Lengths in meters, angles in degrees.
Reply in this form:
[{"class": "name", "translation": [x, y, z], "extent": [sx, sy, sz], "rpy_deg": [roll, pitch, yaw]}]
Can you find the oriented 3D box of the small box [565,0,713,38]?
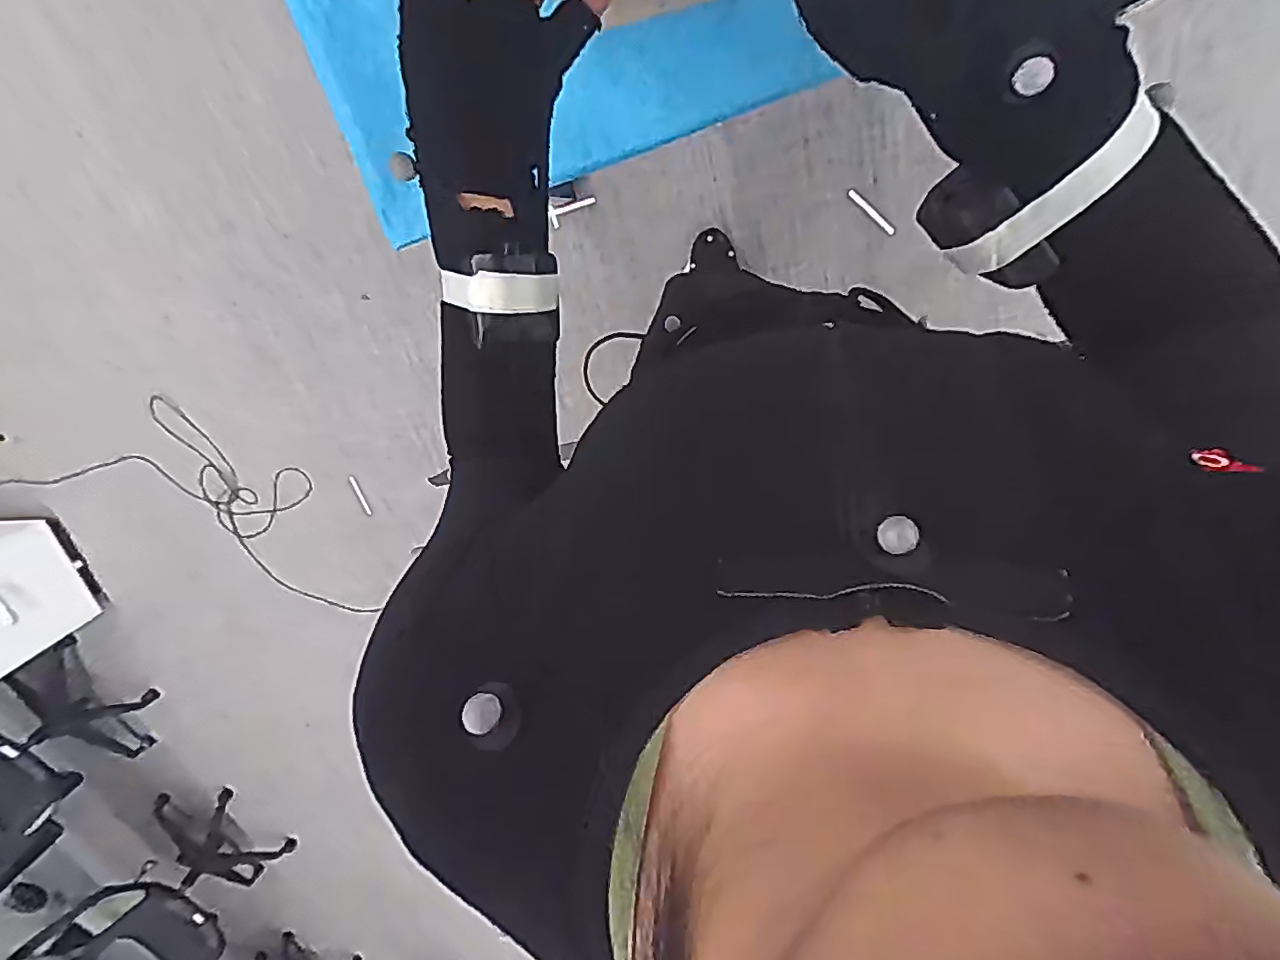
[{"class": "small box", "translation": [-0.008, -0.511, 0.439], "extent": [0.168, 0.176, 0.179], "rpy_deg": [-8, 115, 10]}]
